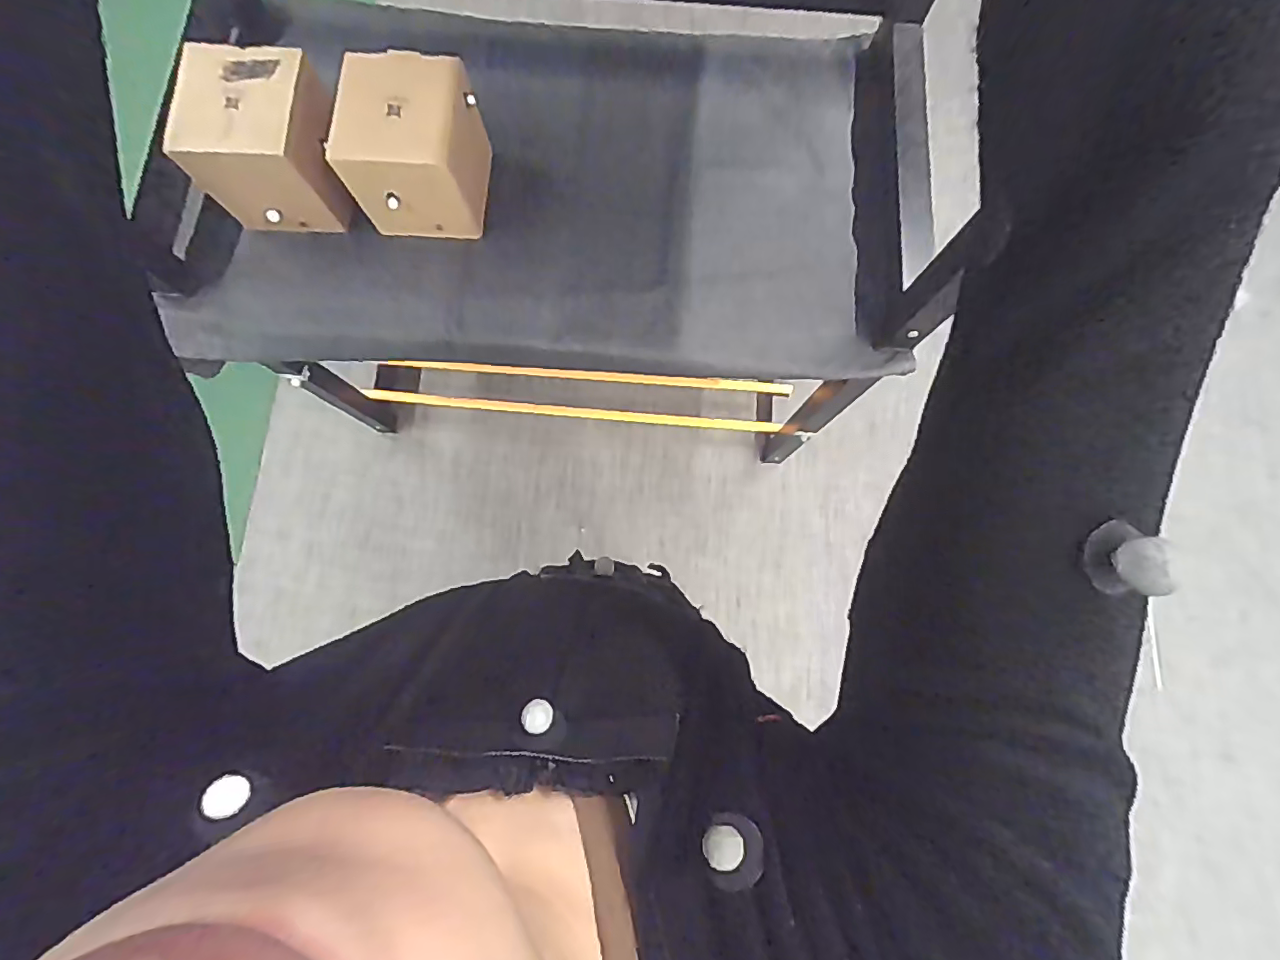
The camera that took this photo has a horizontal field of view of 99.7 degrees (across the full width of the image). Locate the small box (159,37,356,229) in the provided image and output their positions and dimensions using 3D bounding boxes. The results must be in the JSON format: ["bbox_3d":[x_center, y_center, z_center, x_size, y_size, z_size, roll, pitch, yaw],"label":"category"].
[{"bbox_3d":[-0.555,-0.511,0.812,0.168,0.176,0.179,2,80,0],"label":"small box"}]
